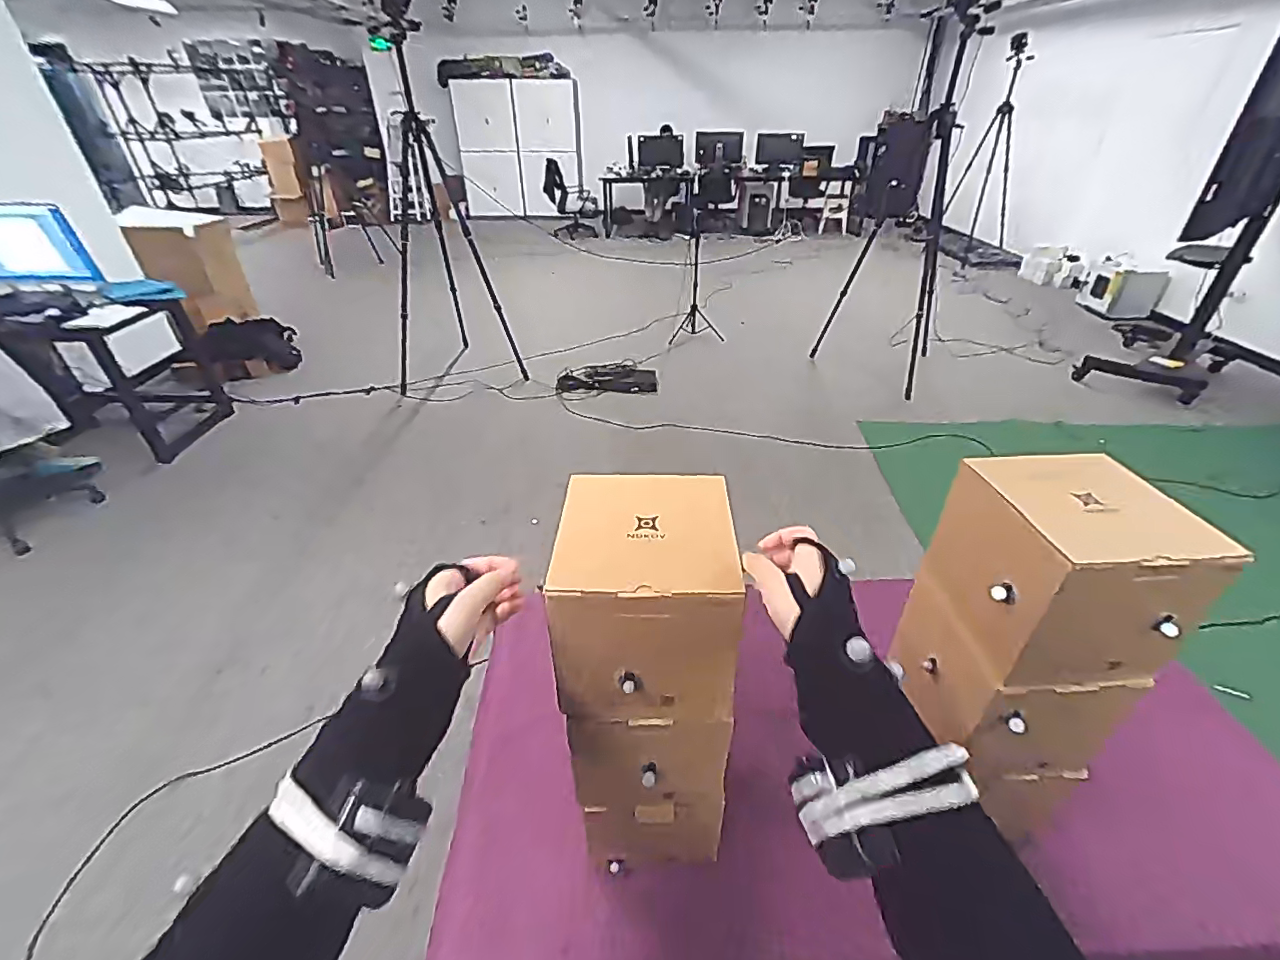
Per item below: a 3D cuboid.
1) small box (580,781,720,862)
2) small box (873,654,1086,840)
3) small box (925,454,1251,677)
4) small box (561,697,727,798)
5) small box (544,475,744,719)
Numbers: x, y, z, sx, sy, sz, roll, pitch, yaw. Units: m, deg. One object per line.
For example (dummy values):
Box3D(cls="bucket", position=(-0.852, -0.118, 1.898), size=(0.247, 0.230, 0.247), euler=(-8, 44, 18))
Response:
Box3D(cls="small box", position=(0.011, 0.387, 0.728), size=(0.168, 0.176, 0.179), euler=(-2, 34, -2))
Box3D(cls="small box", position=(0.444, 0.364, 0.748), size=(0.168, 0.176, 0.179), euler=(-1, 35, 1))
Box3D(cls="small box", position=(0.437, 0.090, 0.569), size=(0.168, 0.176, 0.179), euler=(-2, 34, -2))
Box3D(cls="small box", position=(0.006, 0.251, 0.636), size=(0.168, 0.176, 0.179), euler=(-1, 36, -1))
Box3D(cls="small box", position=(0.005, 0.113, 0.549), size=(0.168, 0.176, 0.179), euler=(0, 35, 1))
